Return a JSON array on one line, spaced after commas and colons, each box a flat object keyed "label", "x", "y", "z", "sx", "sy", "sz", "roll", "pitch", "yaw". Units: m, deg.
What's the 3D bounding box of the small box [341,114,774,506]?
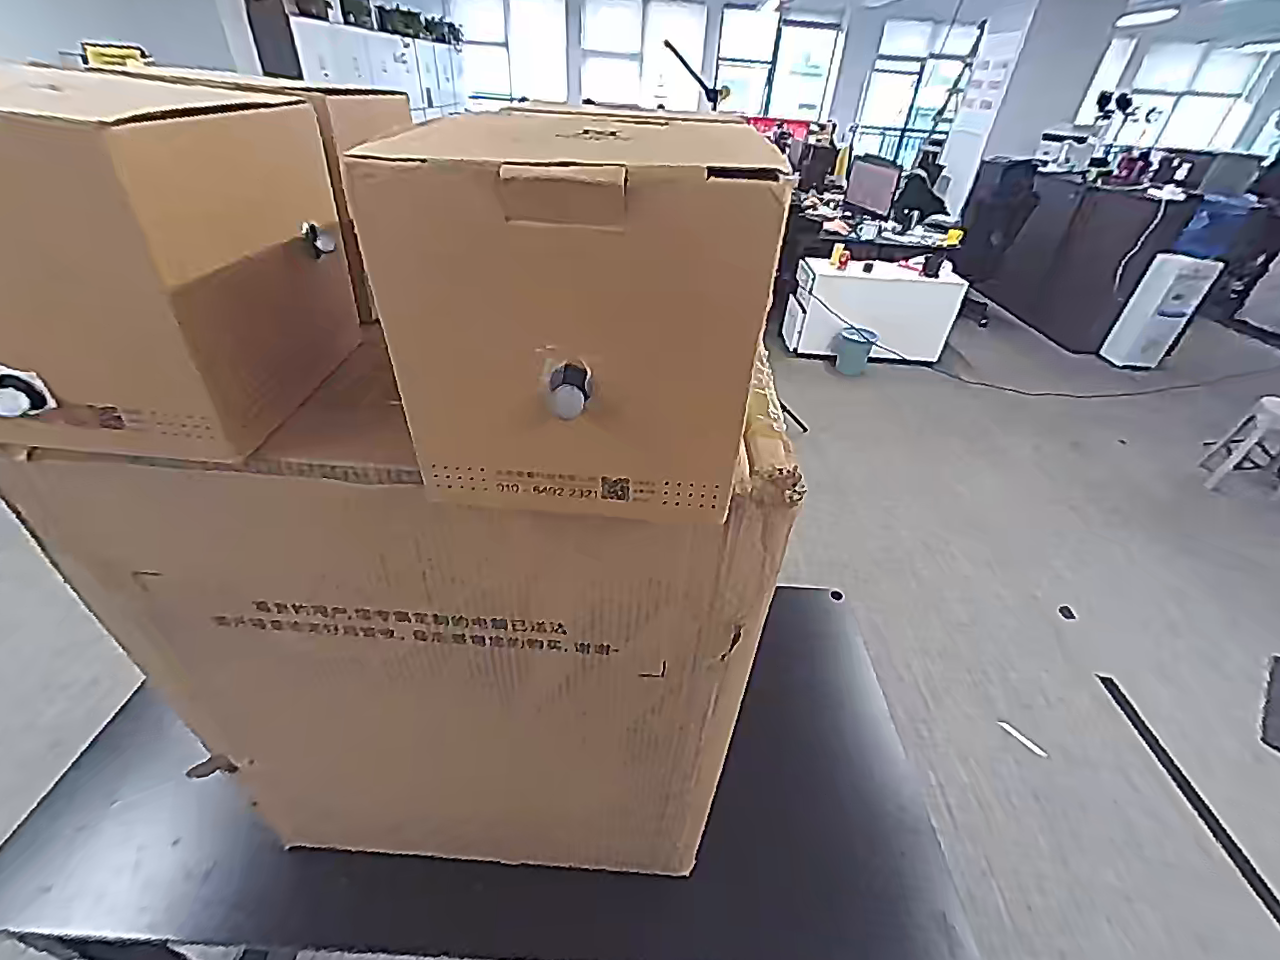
[{"label": "small box", "x": -0.027, "y": -0.101, "z": 0.311, "sx": 0.168, "sy": 0.176, "sz": 0.179, "roll": 4, "pitch": 38, "yaw": 2}]

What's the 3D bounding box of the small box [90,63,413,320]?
[{"label": "small box", "x": -0.310, "y": -0.259, "z": 0.492, "sx": 0.168, "sy": 0.176, "sz": 0.179, "roll": 3, "pitch": 34, "yaw": -3}]
